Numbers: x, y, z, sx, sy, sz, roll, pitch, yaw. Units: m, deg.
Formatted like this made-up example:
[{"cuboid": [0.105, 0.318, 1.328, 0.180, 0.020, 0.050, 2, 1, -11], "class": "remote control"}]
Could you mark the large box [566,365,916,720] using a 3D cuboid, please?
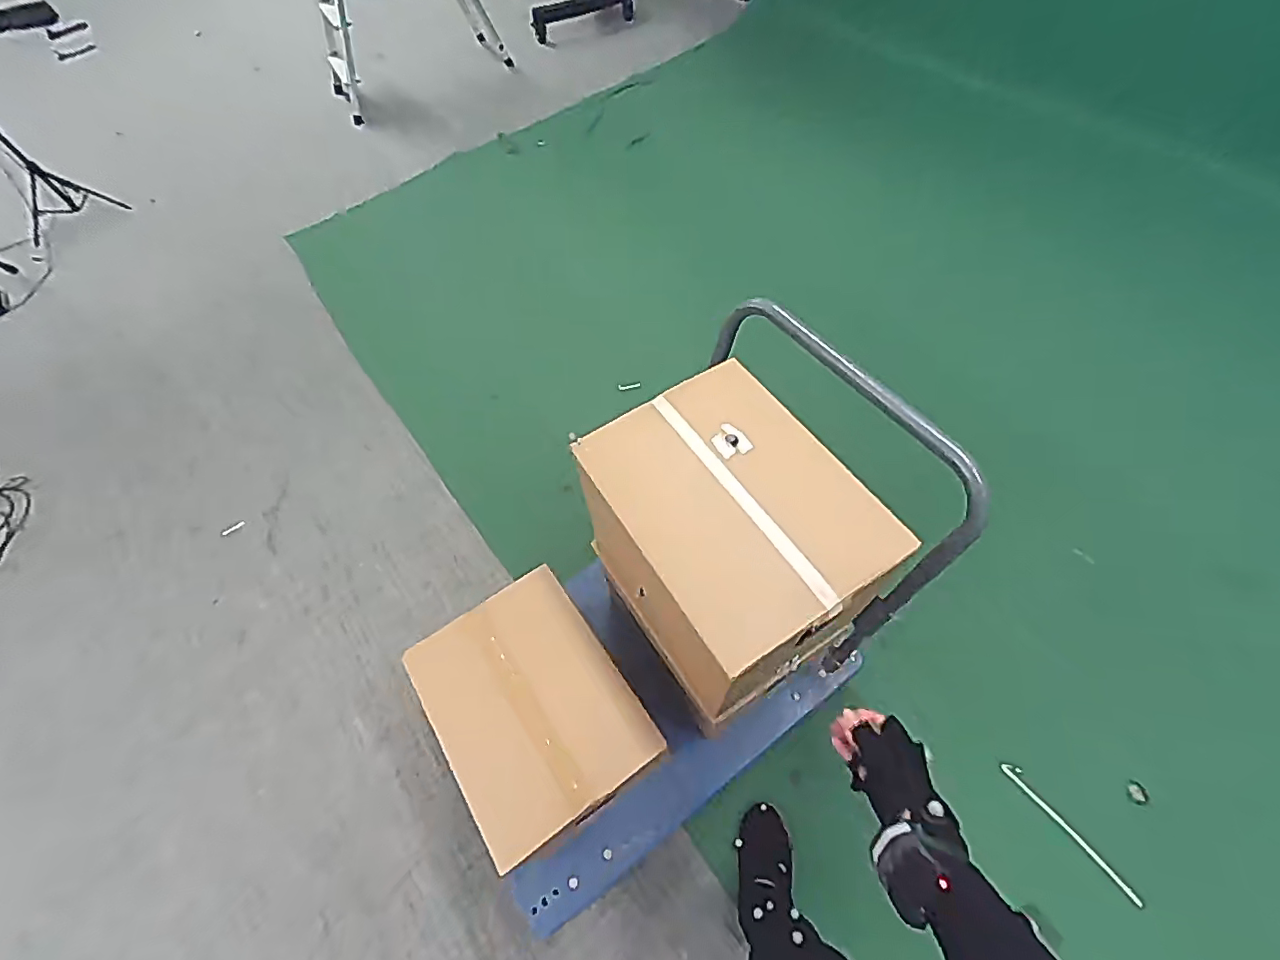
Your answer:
[{"cuboid": [0.134, 0.101, 0.870, 0.320, 0.320, 0.408, -29, 59, -14], "class": "large box"}]
